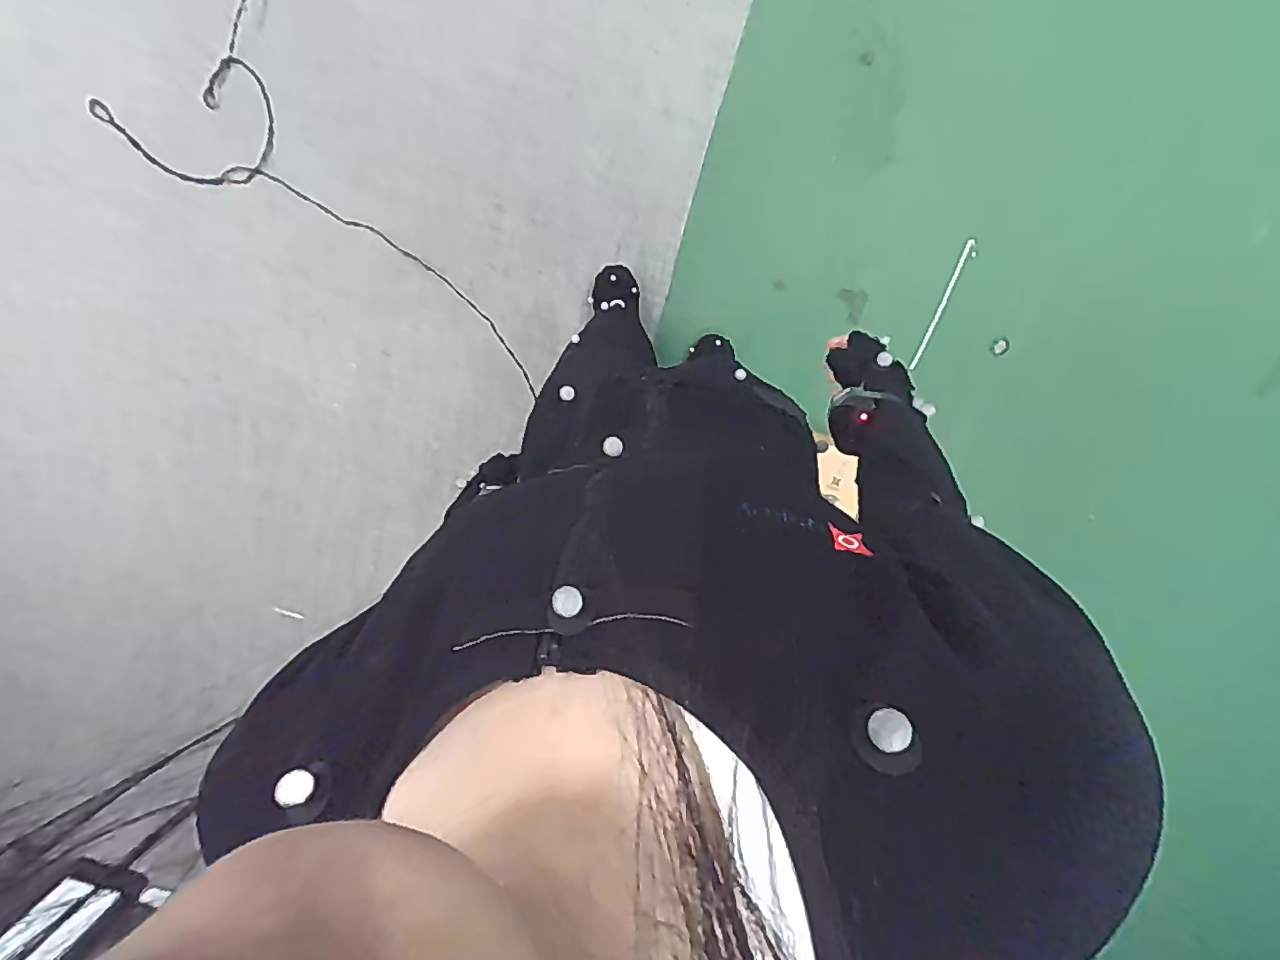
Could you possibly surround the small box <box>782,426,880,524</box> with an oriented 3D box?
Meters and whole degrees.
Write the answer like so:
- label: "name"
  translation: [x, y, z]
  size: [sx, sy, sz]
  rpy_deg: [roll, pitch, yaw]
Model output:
- label: "small box"
  translation: [0.474, -0.019, 1.378]
  size: [0.168, 0.176, 0.179]
  rpy_deg: [18, 108, -1]
